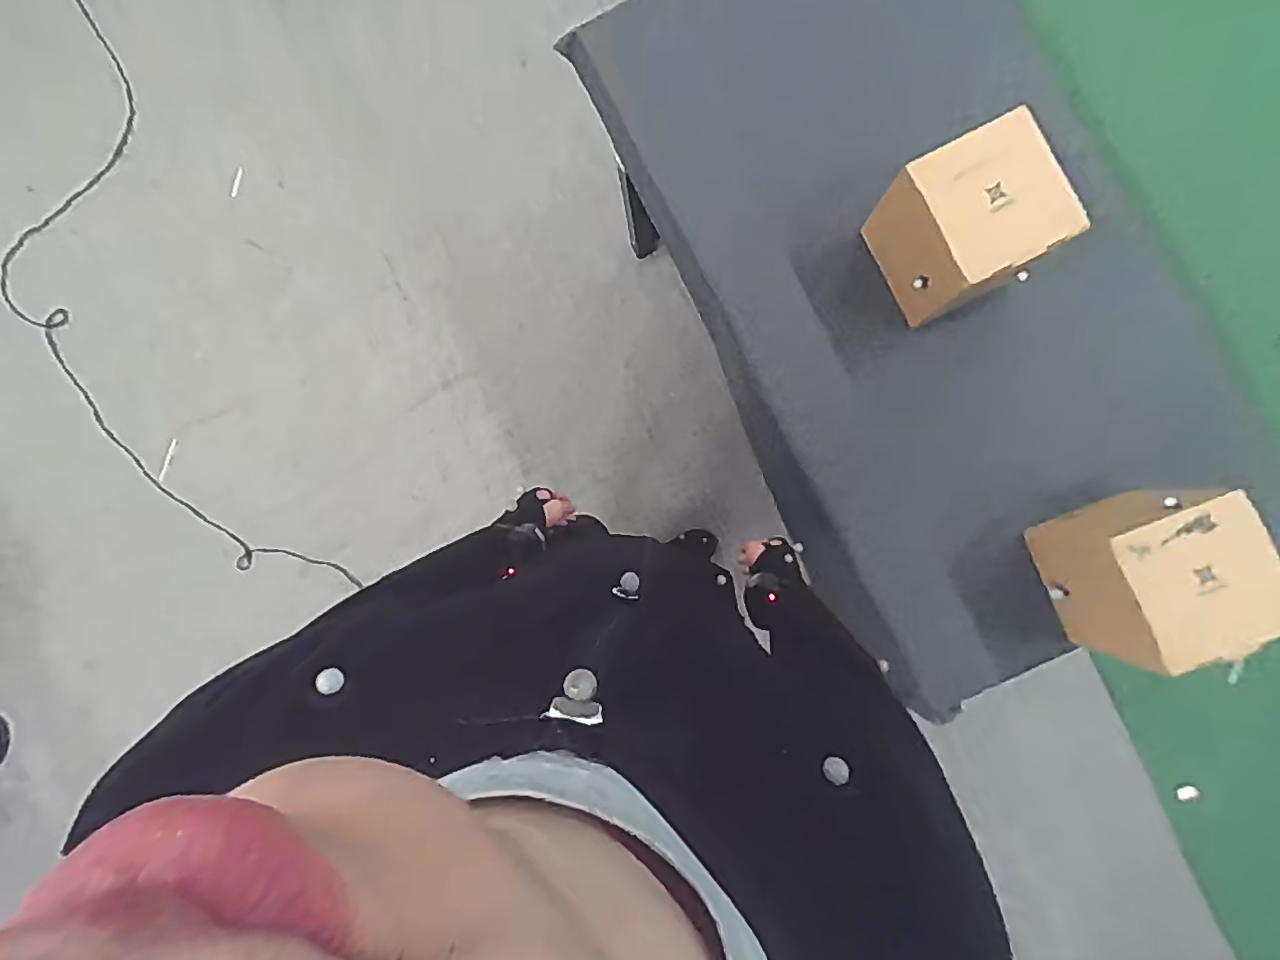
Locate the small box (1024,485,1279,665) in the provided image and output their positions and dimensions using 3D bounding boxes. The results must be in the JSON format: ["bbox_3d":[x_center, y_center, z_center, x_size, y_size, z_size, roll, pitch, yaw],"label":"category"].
[{"bbox_3d":[0.671,0.114,0.724,0.168,0.176,0.179,-22,88,3],"label":"small box"}]

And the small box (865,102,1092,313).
[{"bbox_3d":[0.447,-0.353,0.744,0.168,0.176,0.179,-27,87,1],"label":"small box"}]
